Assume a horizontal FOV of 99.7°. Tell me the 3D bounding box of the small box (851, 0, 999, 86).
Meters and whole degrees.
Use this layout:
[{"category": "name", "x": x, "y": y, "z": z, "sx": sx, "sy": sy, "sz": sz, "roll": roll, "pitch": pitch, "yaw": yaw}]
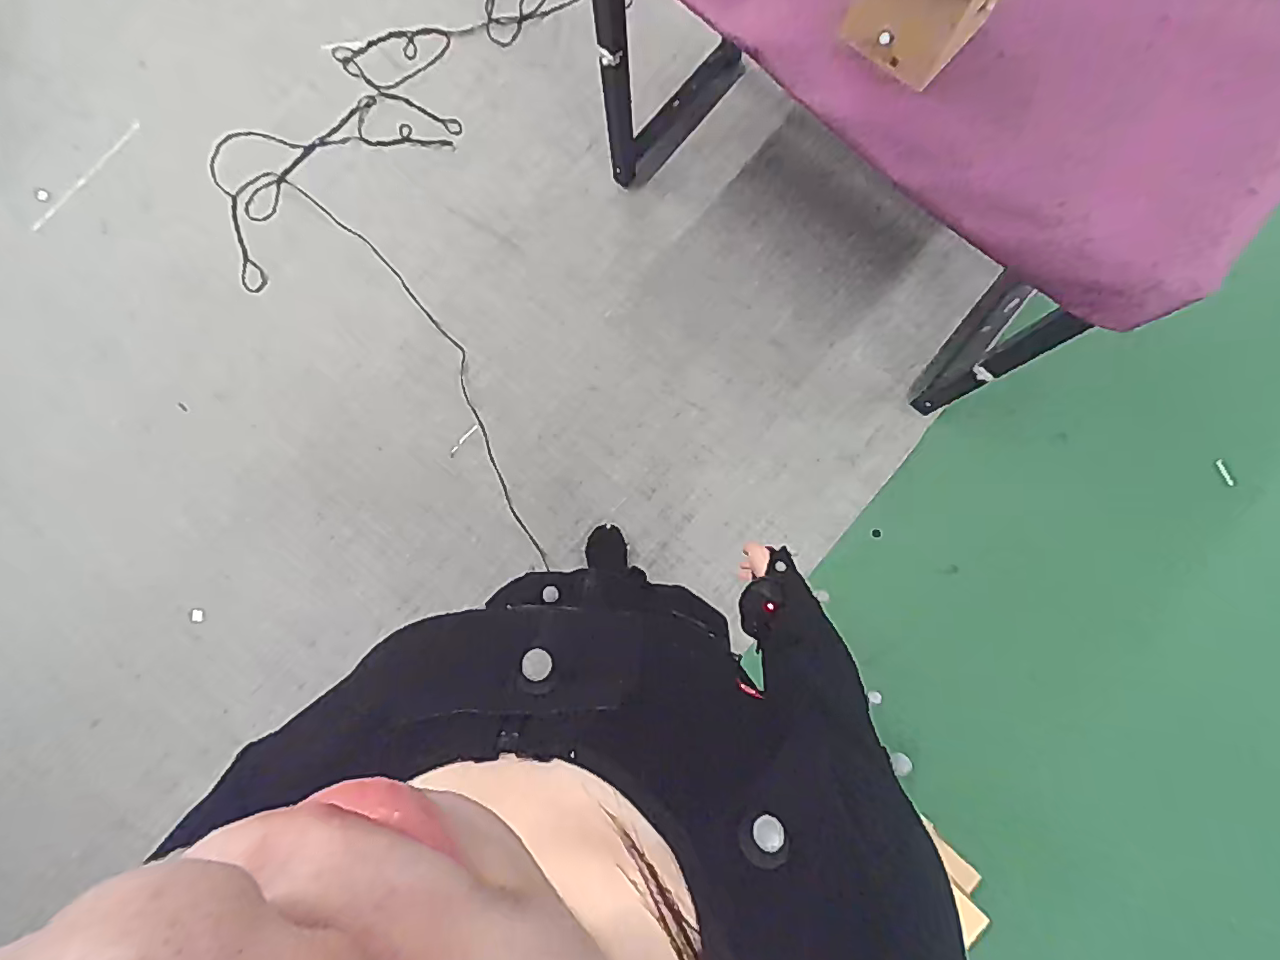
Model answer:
[{"category": "small box", "x": 0.445, "y": -0.746, "z": 0.796, "sx": 0.168, "sy": 0.176, "sz": 0.179, "roll": 41, "pitch": 86, "yaw": 7}]
